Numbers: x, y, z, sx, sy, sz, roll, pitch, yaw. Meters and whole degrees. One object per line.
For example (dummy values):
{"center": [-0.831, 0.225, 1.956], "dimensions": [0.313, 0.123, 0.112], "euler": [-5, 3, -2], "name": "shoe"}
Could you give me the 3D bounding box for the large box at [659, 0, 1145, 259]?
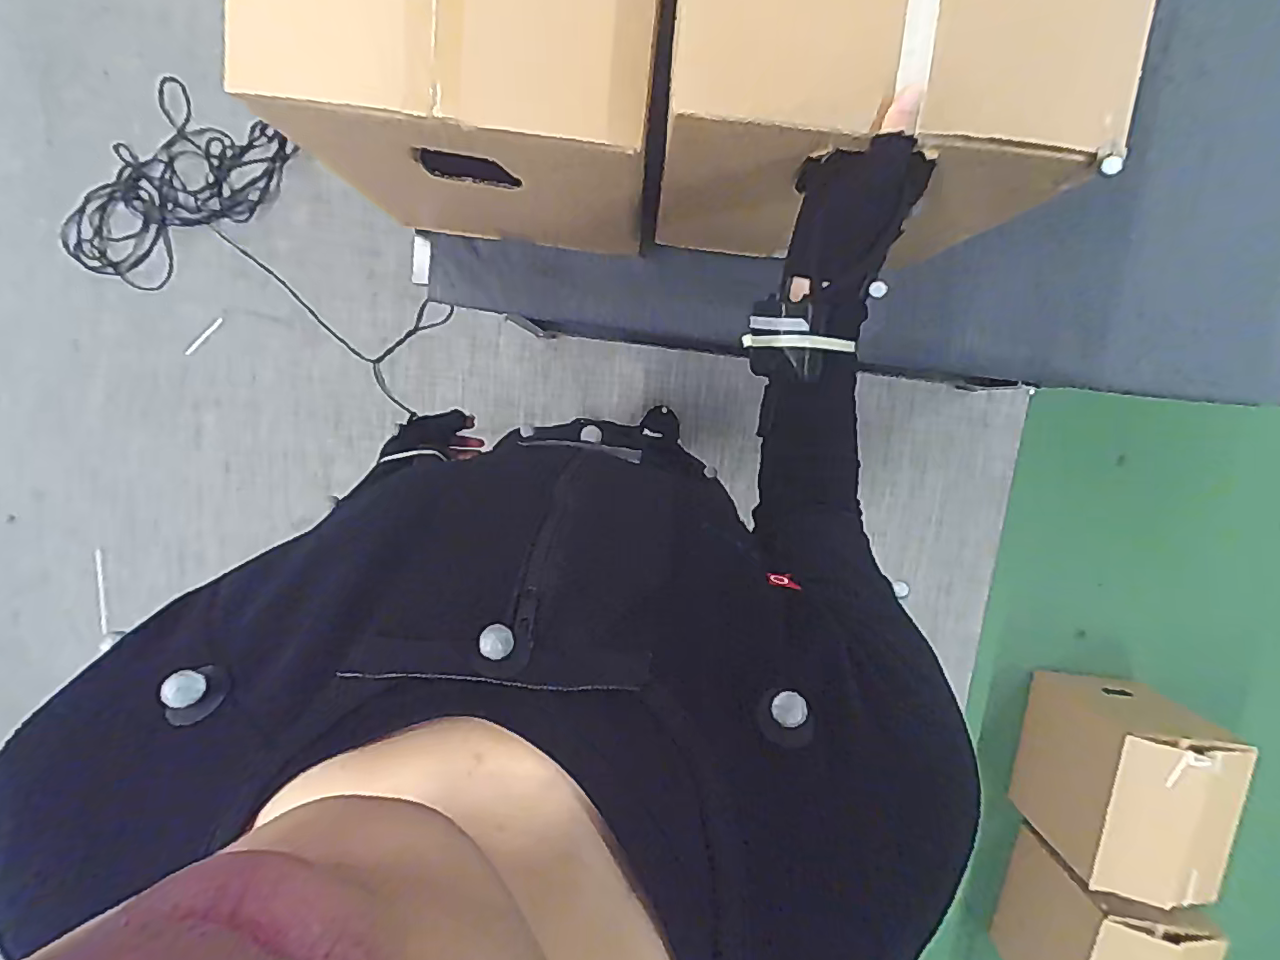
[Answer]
{"center": [0.190, -0.455, 0.485], "dimensions": [0.320, 0.320, 0.408], "euler": [5, 100, -1], "name": "large box"}
